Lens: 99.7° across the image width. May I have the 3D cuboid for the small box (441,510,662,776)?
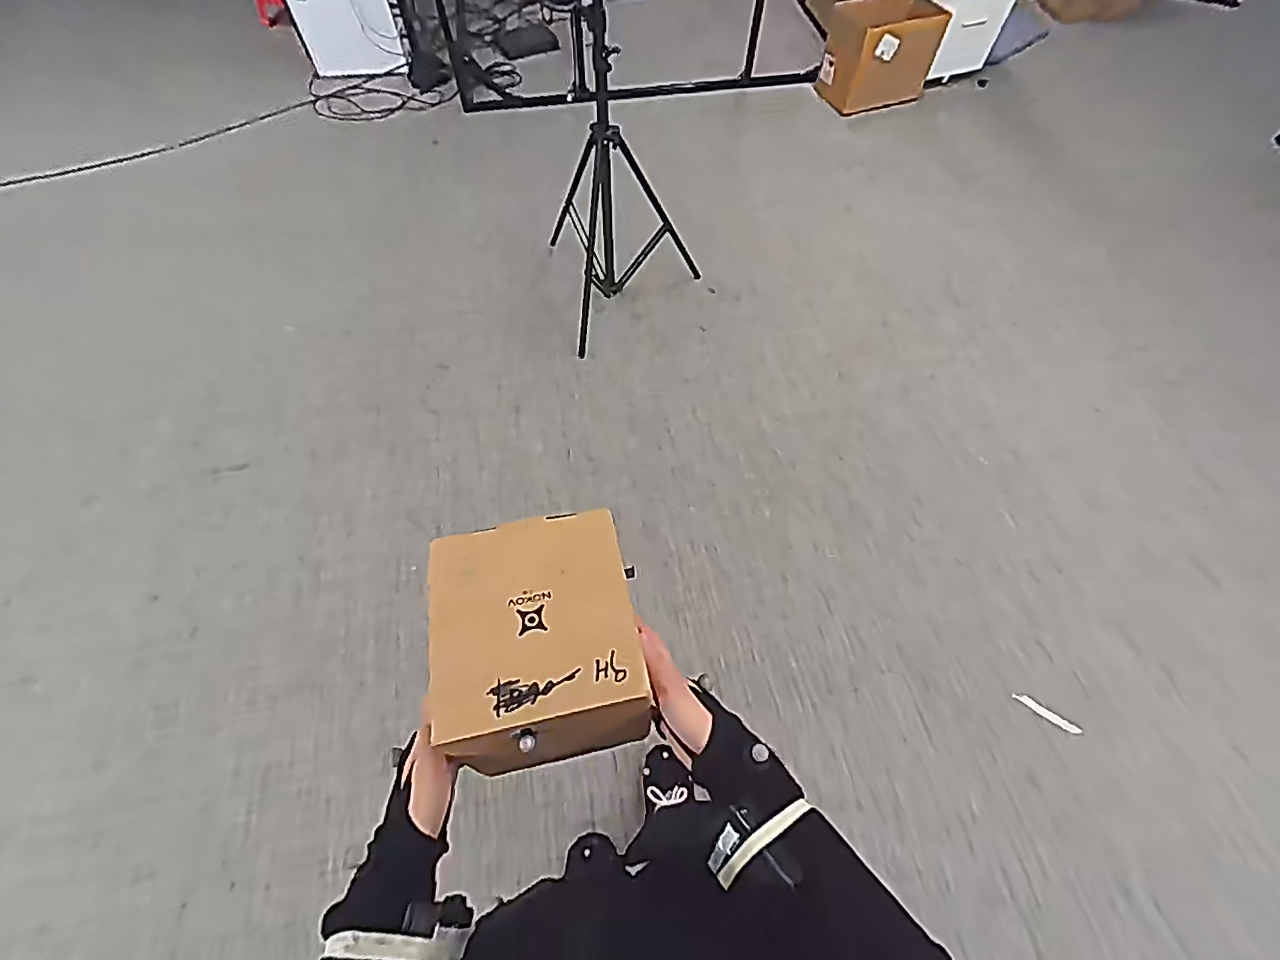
[{"bbox_3d":[-0.082,0.156,0.511,0.168,0.176,0.179,-10,55,-8],"label":"small box"}]
